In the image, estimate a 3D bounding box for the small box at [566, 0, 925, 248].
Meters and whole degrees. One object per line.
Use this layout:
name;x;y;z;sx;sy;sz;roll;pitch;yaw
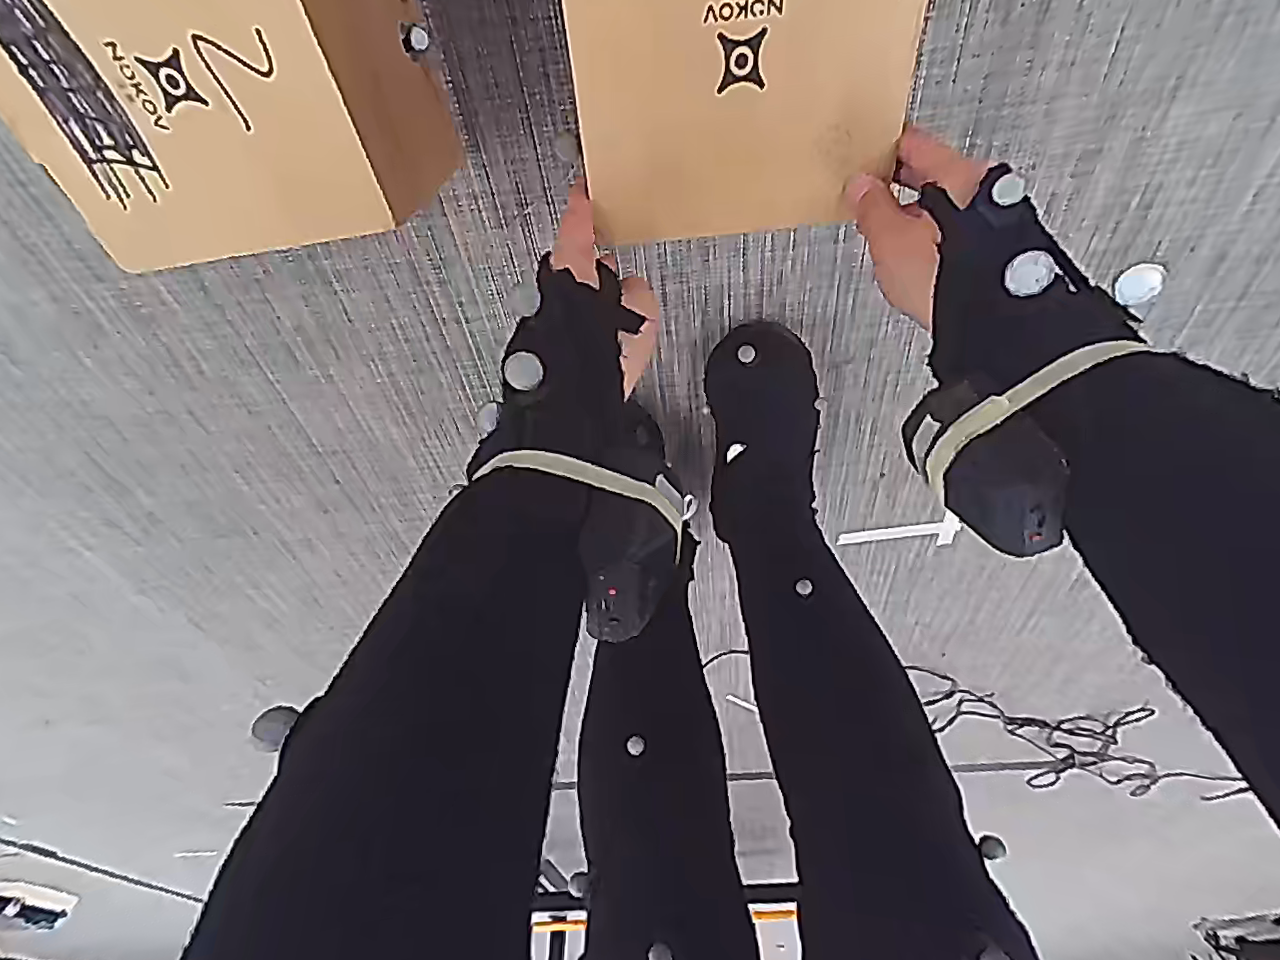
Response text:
small box;0.048;-0.257;0.315;0.168;0.176;0.179;-5;130;2
